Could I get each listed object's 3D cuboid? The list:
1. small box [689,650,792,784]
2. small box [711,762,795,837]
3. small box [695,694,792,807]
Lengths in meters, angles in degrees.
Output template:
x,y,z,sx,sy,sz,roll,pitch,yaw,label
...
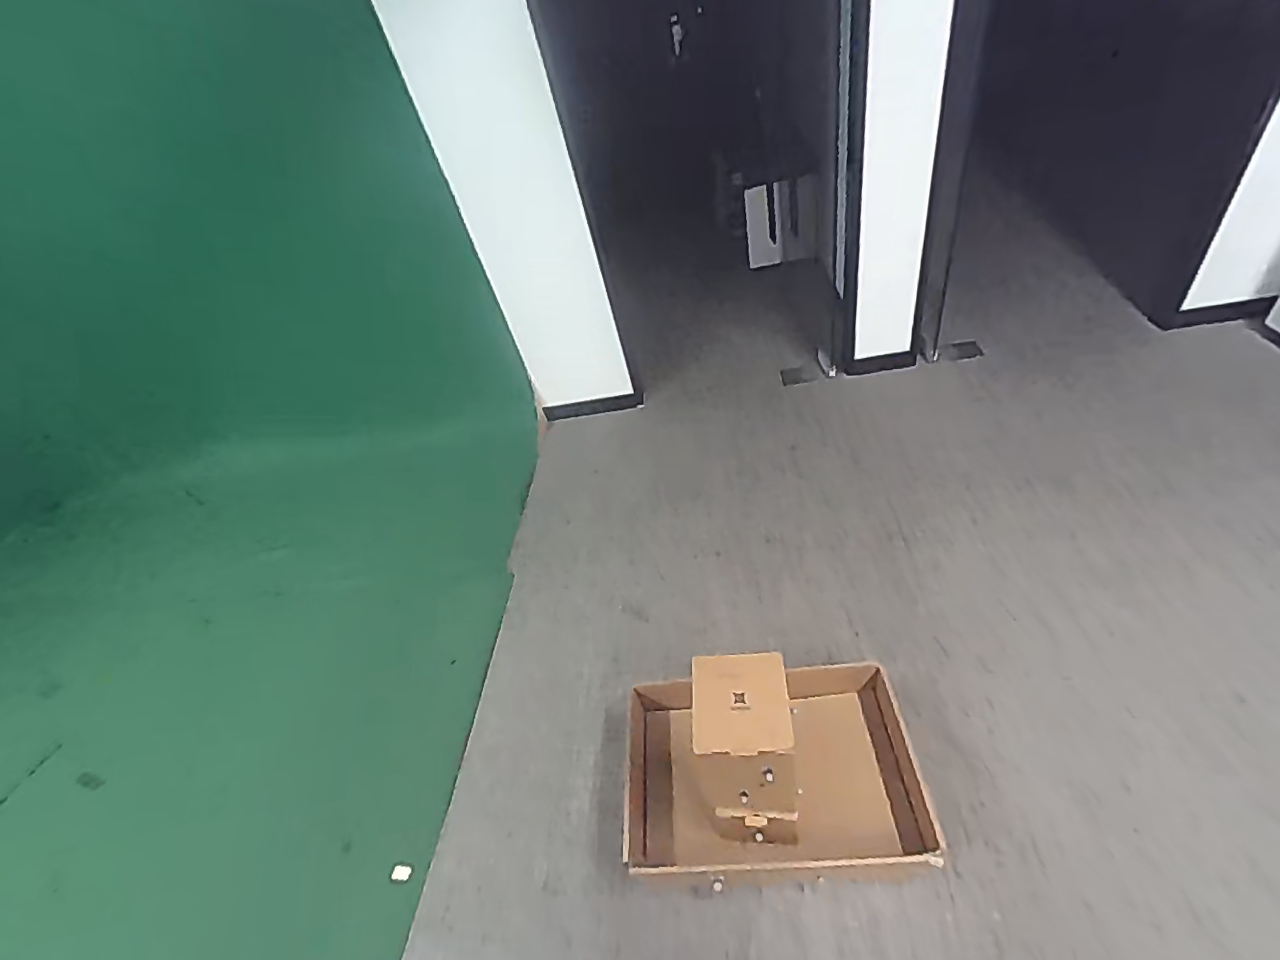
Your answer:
x,y,z,sx,sy,sz,roll,pitch,yaw,label
0.182,0.433,0.981,0.168,0.176,0.179,-5,41,10,small box
0.253,0.668,1.196,0.168,0.176,0.179,-4,43,13,small box
0.216,0.543,1.095,0.179,0.176,0.168,-3,42,16,small box
